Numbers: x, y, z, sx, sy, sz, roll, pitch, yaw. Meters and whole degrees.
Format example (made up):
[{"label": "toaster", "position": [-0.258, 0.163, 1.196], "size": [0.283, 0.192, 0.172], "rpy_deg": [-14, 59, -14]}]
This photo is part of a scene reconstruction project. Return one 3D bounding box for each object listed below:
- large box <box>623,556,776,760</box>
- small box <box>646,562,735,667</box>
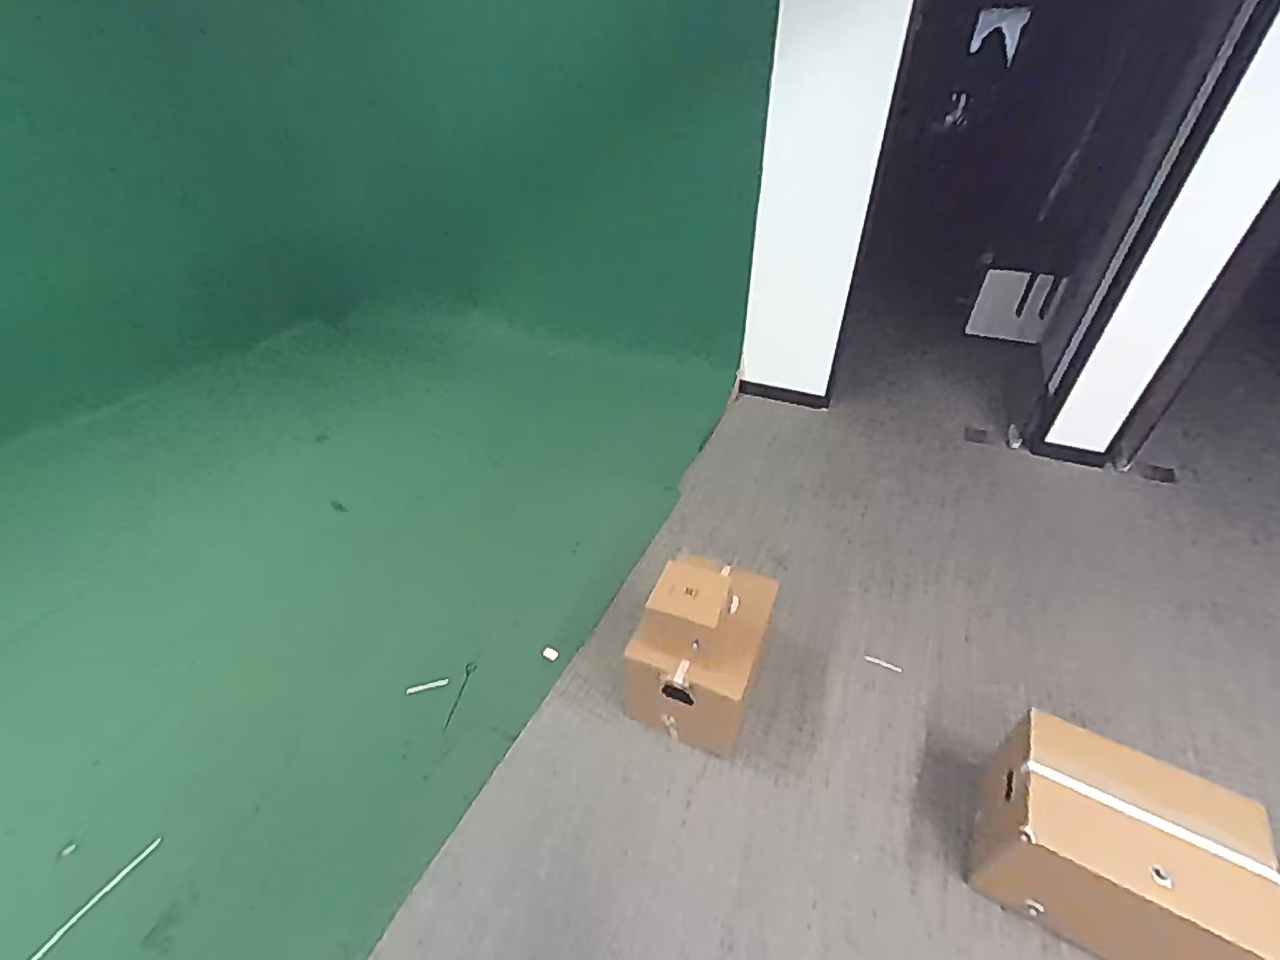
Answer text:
[{"label": "large box", "position": [0.177, 0.496, 1.552], "size": [0.320, 0.320, 0.408], "rpy_deg": [16, 41, 20]}, {"label": "small box", "position": [0.127, 0.340, 1.357], "size": [0.179, 0.176, 0.168], "rpy_deg": [13, 40, 20]}]
